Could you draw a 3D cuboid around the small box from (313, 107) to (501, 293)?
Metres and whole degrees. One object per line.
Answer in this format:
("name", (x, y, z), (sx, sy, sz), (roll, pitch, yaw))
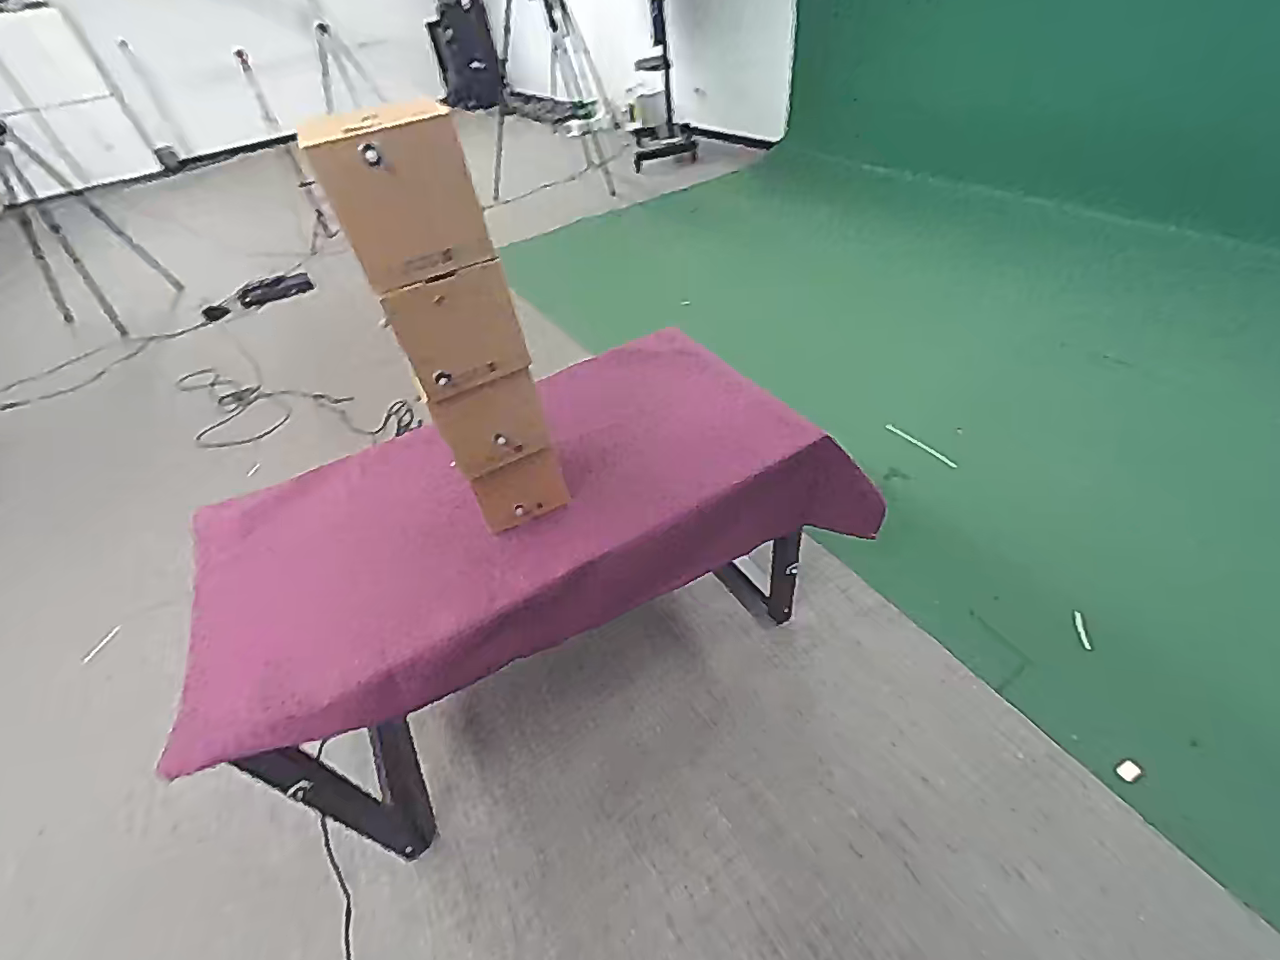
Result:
("small box", (-0.302, -0.369, 0.712), (0.168, 0.176, 0.179), (-24, 44, -13))

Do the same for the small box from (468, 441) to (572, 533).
("small box", (-0.249, -0.029, 1.063), (0.168, 0.176, 0.179), (-24, 46, -14))

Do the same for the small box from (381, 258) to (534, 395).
("small box", (-0.278, -0.249, 0.821), (0.168, 0.176, 0.179), (-24, 45, -14))

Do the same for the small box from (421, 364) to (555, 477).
("small box", (-0.266, -0.136, 0.939), (0.168, 0.176, 0.179), (-25, 46, -15))
